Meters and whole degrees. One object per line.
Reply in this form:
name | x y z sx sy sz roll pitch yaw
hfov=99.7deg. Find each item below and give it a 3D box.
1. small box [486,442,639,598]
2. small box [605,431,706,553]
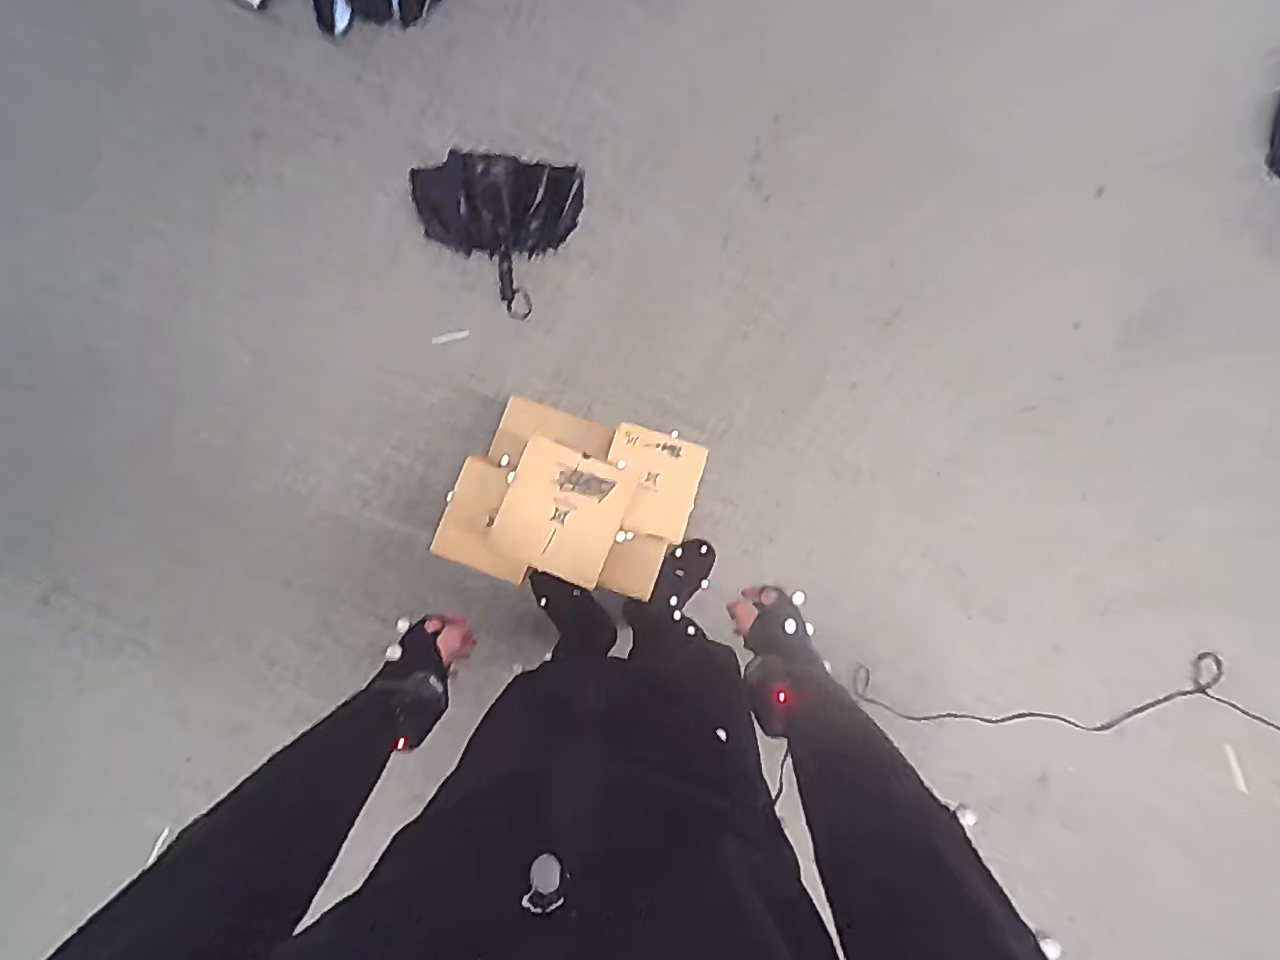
small box | -0.112 0.057 0.834 0.168 0.176 0.179 23 88 -1
small box | 0.010 0.024 1.008 0.168 0.176 0.179 17 87 -3
